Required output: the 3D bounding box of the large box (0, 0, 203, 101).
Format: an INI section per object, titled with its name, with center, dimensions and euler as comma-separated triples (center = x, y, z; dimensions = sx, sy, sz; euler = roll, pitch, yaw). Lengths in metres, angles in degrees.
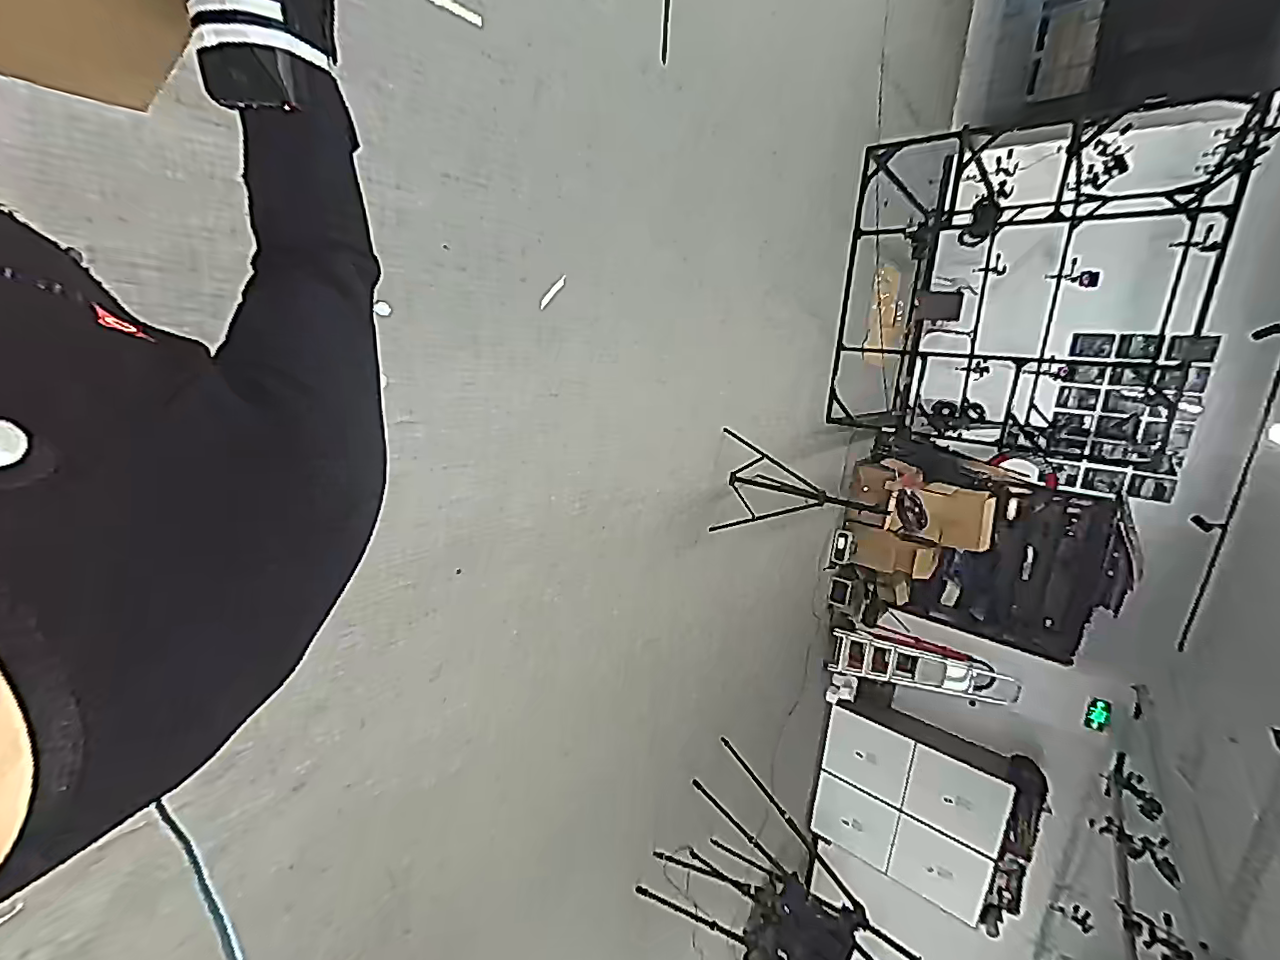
[large box]
center = -0.497, -0.459, 0.253
dimensions = 0.408, 0.320, 0.320
euler = -14, 108, -49
